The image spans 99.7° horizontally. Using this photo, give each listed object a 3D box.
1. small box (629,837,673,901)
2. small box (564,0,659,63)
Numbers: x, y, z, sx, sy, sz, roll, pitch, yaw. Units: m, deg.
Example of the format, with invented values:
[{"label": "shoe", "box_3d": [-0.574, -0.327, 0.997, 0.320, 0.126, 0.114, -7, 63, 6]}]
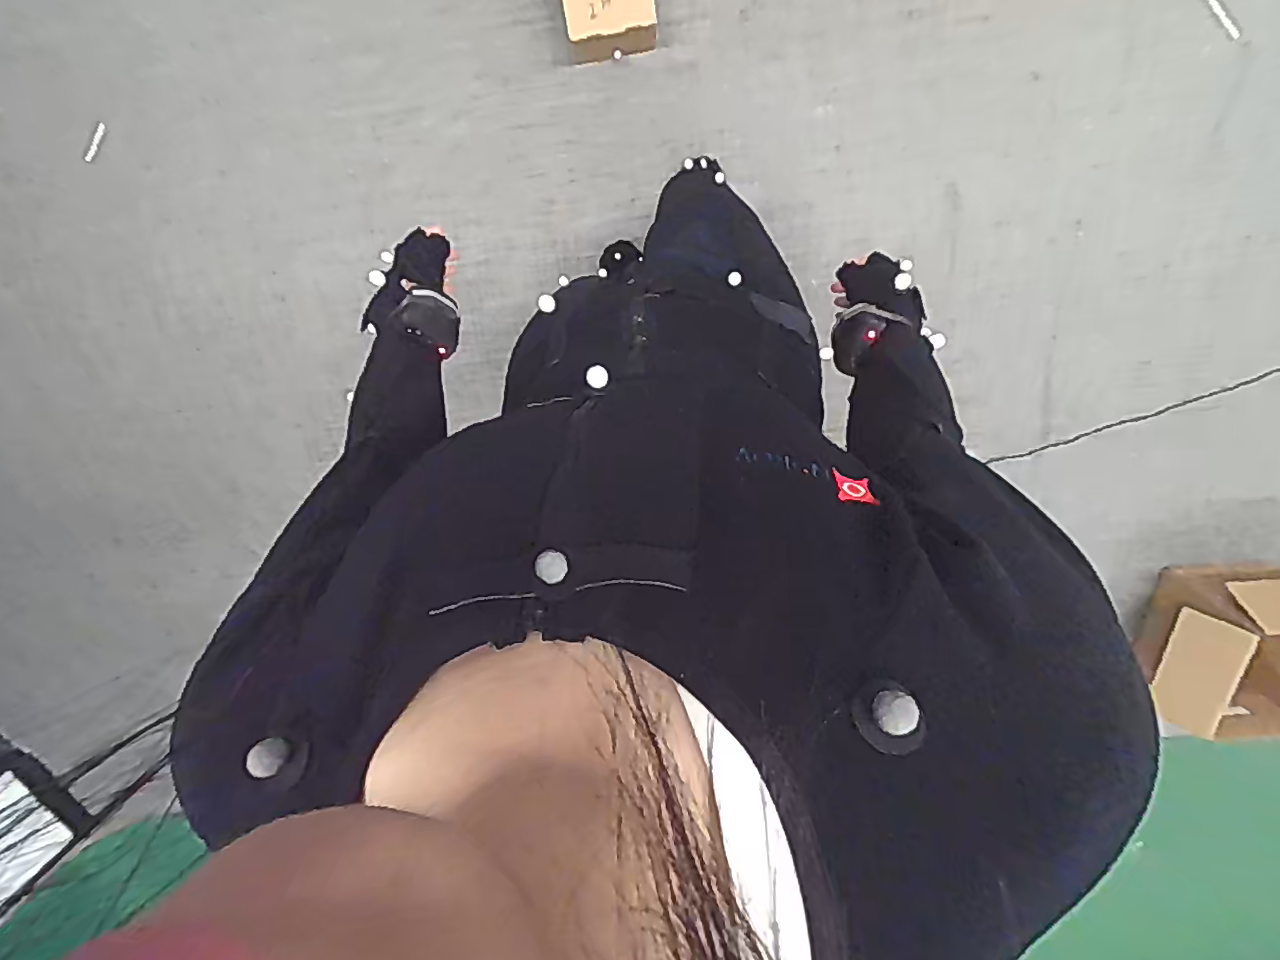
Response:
[{"label": "small box", "box_3d": [0.051, 1.672, 2.327, 0.179, 0.176, 0.168, -5, 117, 3]}, {"label": "small box", "box_3d": [-0.058, -0.921, 1.013, 0.168, 0.176, 0.179, -7, 117, 5]}]
